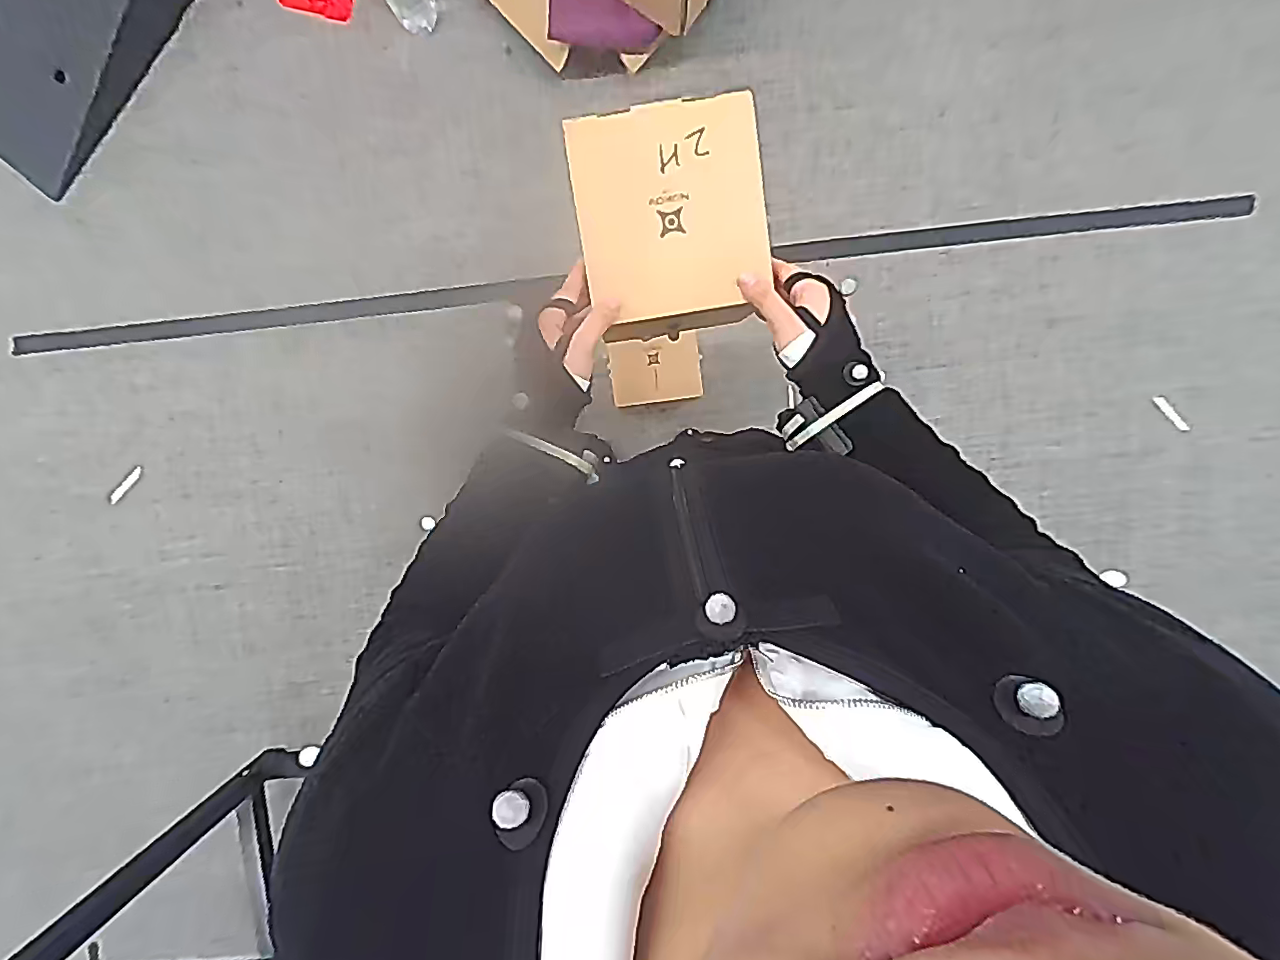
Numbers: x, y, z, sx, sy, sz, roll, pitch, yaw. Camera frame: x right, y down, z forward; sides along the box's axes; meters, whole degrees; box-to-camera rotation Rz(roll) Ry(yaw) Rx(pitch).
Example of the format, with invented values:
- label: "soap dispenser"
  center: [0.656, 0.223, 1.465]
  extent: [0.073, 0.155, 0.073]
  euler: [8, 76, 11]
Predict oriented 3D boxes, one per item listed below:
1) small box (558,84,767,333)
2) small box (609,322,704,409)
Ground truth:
- label: "small box"
  center: [0.023, -0.251, 0.549]
  extent: [0.168, 0.176, 0.179]
  euler: [-9, 99, 1]
- label: "small box"
  center: [0.028, -0.239, 1.065]
  extent: [0.168, 0.176, 0.179]
  euler: [-7, 95, 2]
